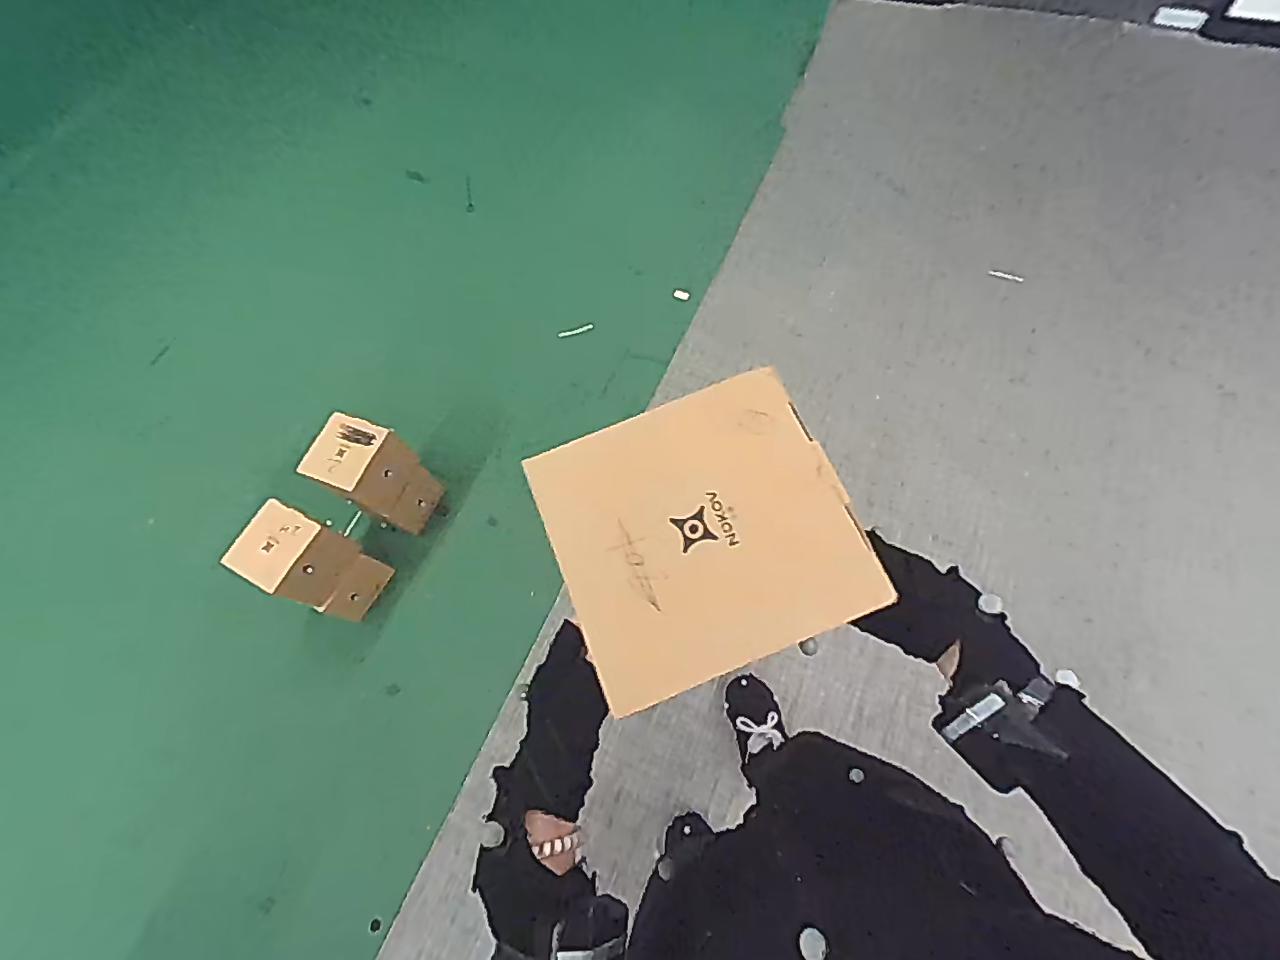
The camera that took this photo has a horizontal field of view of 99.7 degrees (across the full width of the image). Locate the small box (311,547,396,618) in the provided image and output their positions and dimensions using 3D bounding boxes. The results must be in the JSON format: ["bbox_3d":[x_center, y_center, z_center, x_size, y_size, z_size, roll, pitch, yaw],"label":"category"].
[{"bbox_3d":[-0.793,0.253,1.440,0.179,0.176,0.168,26,71,16],"label":"small box"}]

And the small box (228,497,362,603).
[{"bbox_3d":[-0.813,0.175,1.296,0.168,0.176,0.179,25,71,15],"label":"small box"}]

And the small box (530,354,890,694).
[{"bbox_3d":[0.041,0.041,0.404,0.179,0.176,0.168,-22,72,-3],"label":"small box"}]
